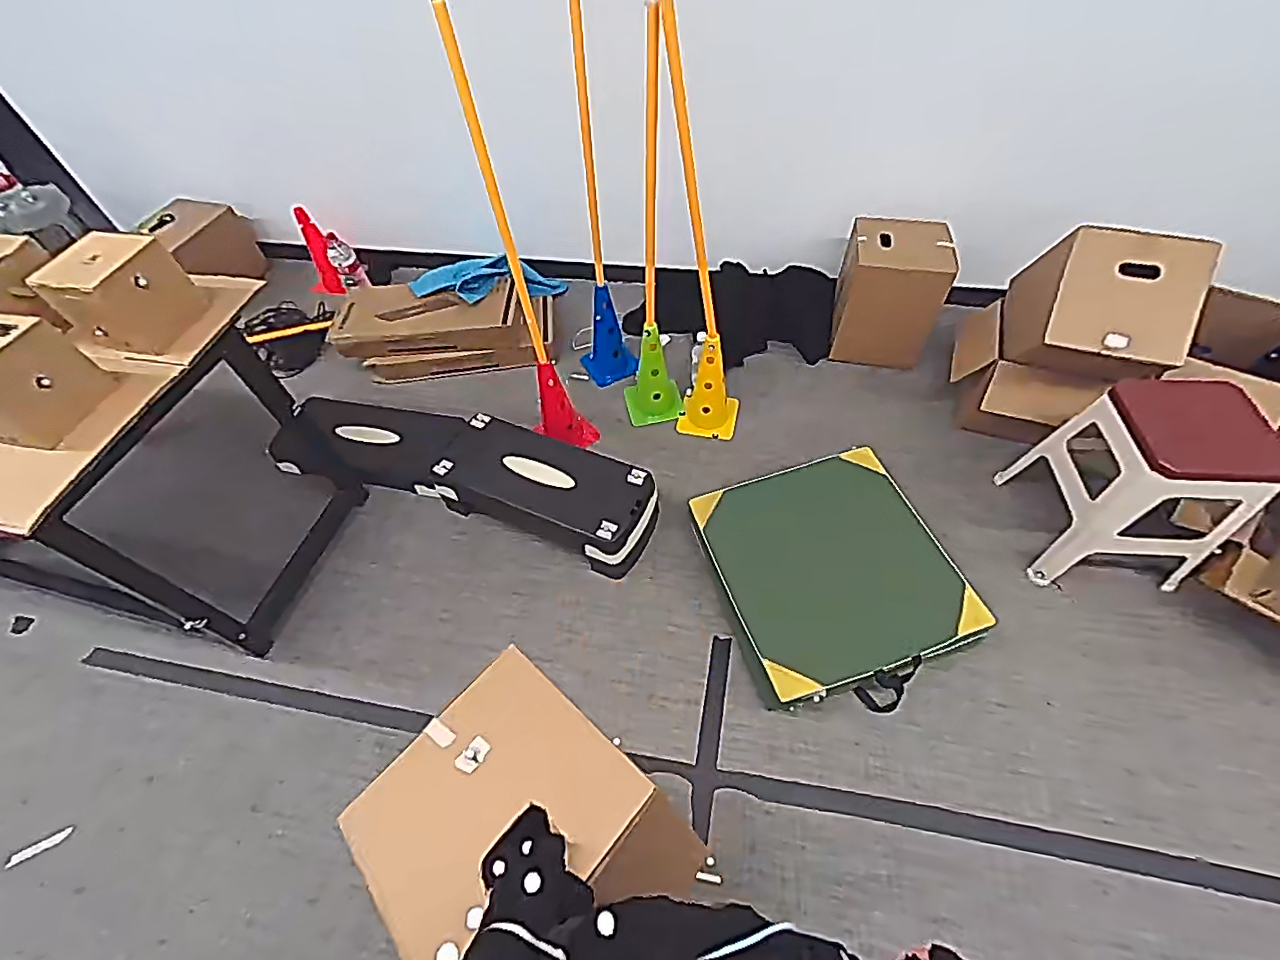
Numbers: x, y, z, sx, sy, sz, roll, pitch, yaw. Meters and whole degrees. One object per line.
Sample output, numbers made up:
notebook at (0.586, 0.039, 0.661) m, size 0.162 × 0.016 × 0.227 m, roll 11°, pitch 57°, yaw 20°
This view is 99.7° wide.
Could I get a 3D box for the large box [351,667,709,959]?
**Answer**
large box at (-0.136, 0.556, 0.823) m, size 0.320 × 0.408 × 0.320 m, roll 31°, pitch 66°, yaw 36°
